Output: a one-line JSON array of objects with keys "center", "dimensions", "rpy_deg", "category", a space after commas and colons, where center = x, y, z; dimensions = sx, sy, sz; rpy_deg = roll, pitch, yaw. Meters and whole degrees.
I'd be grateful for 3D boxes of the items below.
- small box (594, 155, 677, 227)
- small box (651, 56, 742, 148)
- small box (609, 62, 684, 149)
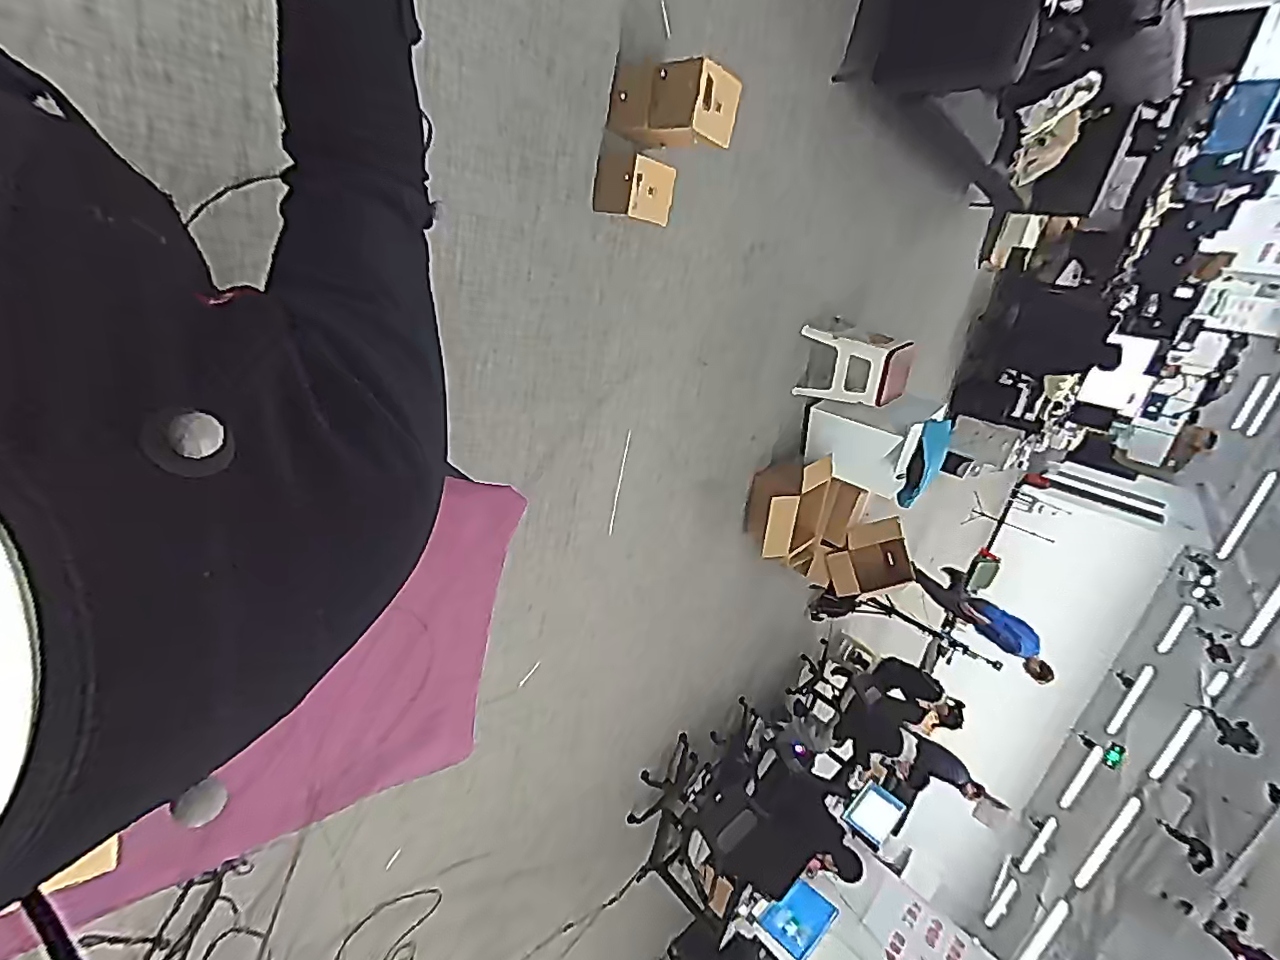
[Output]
[{"center": [-0.016, -0.902, 1.685], "dimensions": [0.179, 0.176, 0.168], "rpy_deg": [-11, 119, -45], "category": "small box"}, {"center": [0.154, -1.051, 1.521], "dimensions": [0.179, 0.176, 0.168], "rpy_deg": [-9, 118, -46], "category": "small box"}, {"center": [0.036, -1.112, 1.619], "dimensions": [0.179, 0.176, 0.168], "rpy_deg": [-7, 116, -45], "category": "small box"}]
